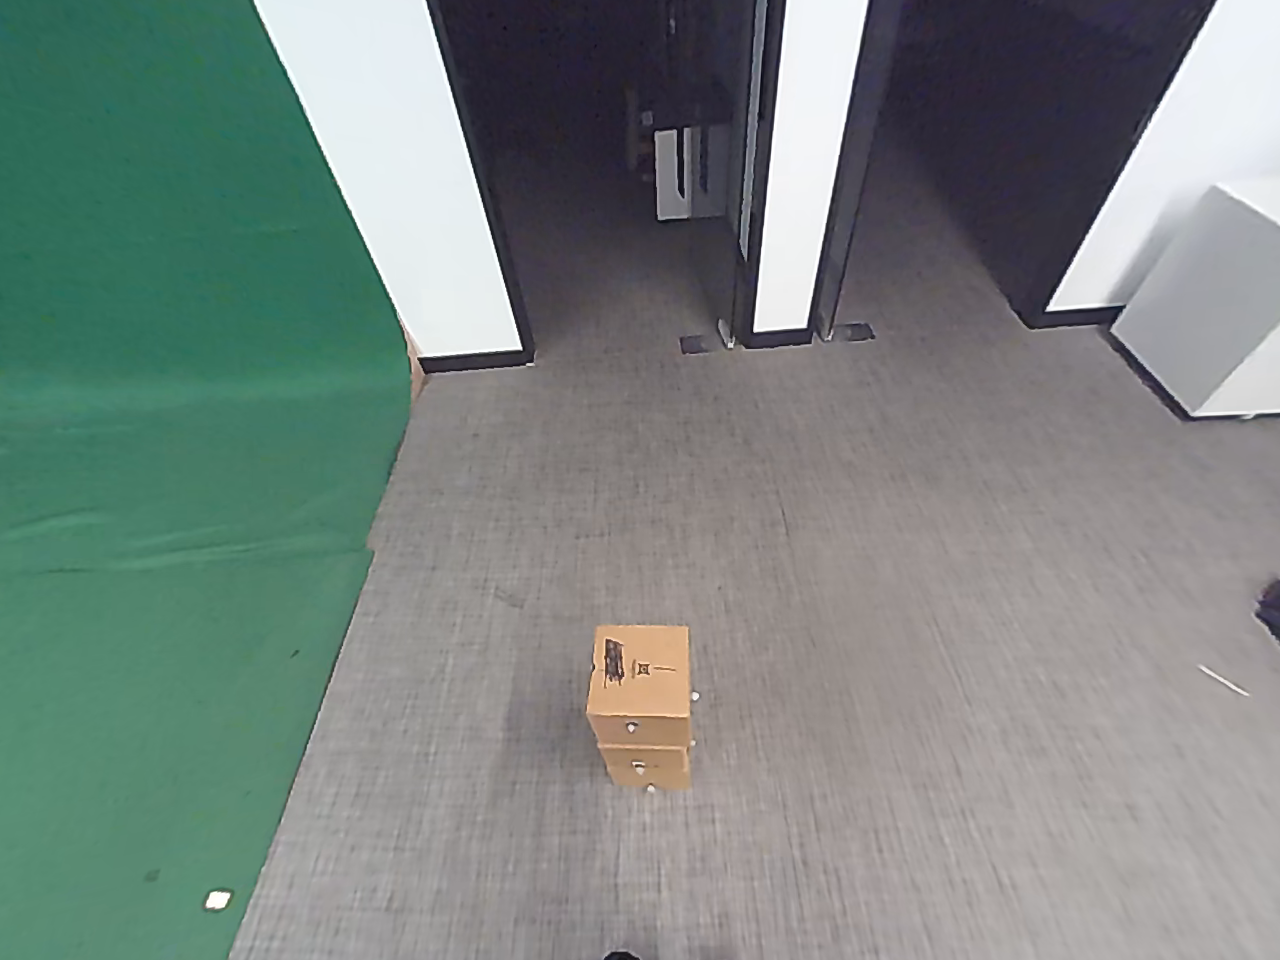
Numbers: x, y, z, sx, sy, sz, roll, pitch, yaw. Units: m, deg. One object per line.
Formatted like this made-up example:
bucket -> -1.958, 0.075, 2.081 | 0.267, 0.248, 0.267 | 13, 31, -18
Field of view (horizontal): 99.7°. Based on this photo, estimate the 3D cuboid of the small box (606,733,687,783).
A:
small box -> 0.022, 0.599, 1.268 | 0.179, 0.176, 0.168 | 0, 49, 5

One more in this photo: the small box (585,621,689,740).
small box -> 0.003, 0.381, 1.025 | 0.179, 0.176, 0.168 | -1, 49, 6

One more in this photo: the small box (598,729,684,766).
small box -> 0.009, 0.489, 1.149 | 0.168, 0.176, 0.179 | -2, 50, 6
